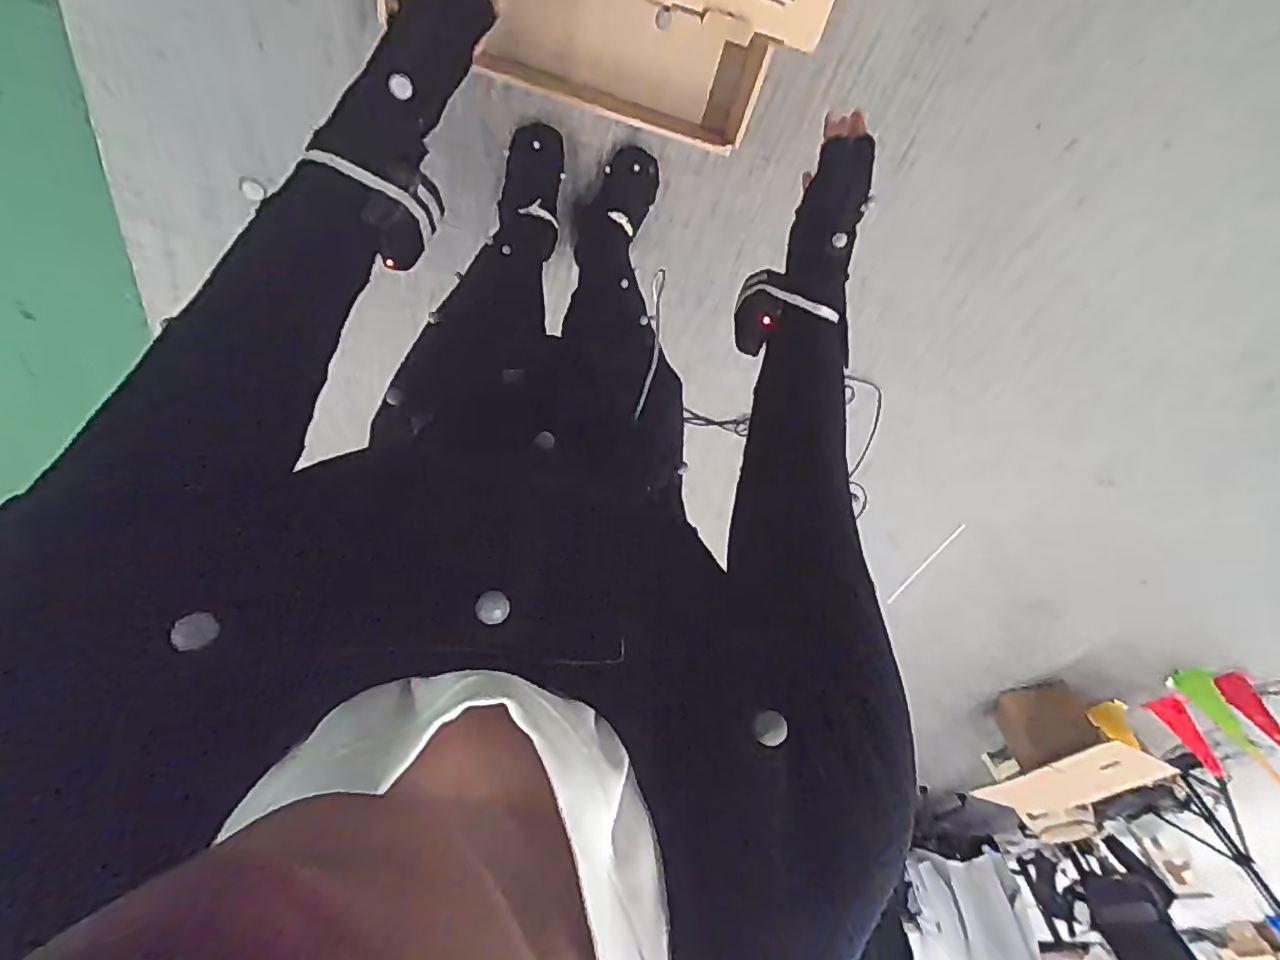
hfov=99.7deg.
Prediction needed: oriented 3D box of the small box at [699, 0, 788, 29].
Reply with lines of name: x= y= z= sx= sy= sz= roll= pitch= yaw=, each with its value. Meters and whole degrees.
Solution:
small box: x=0.099 y=-0.627 z=0.582 sx=0.168 sy=0.176 sz=0.179 roll=12 pitch=130 yaw=-13
